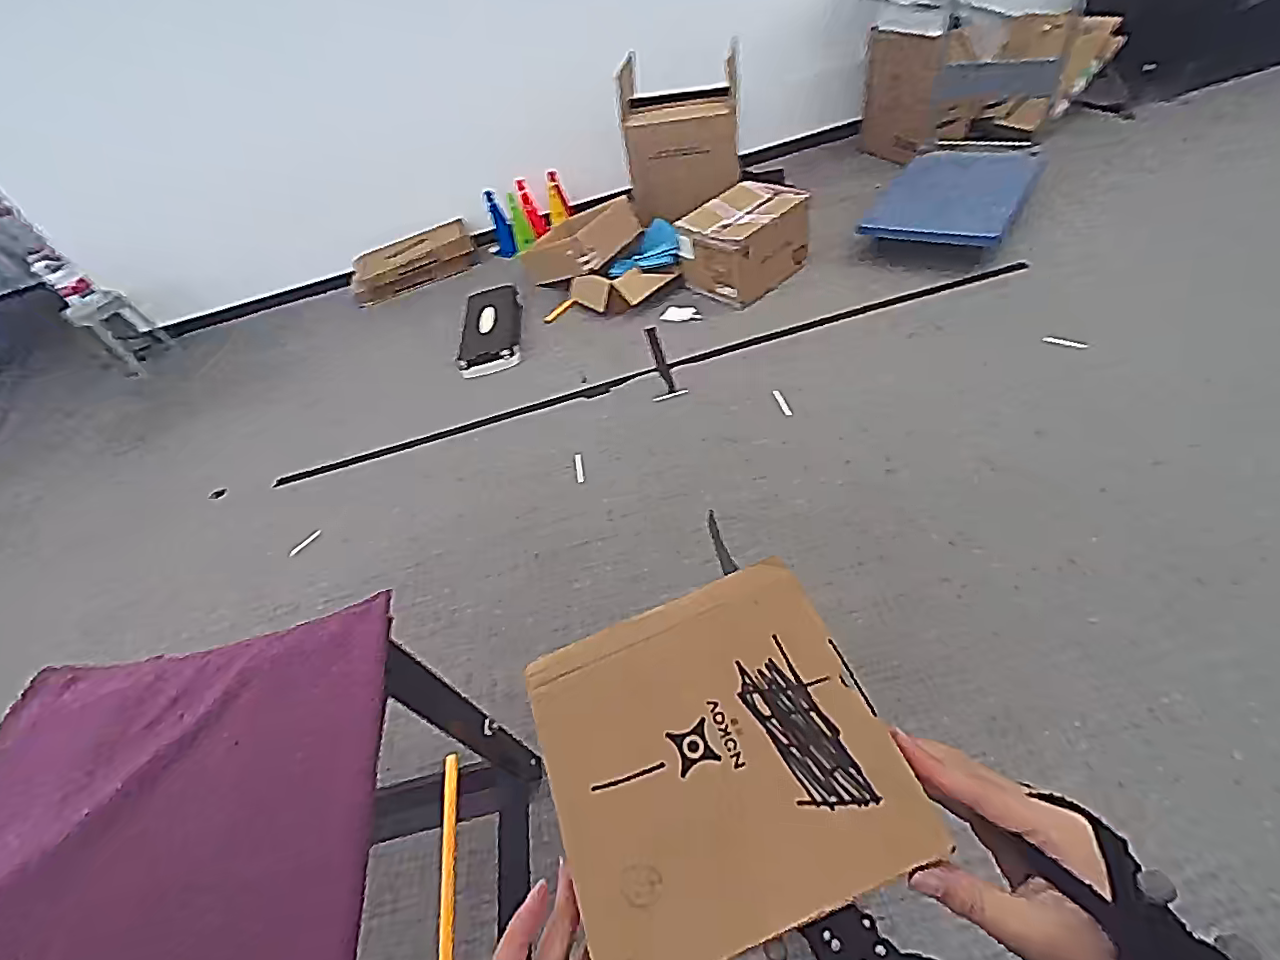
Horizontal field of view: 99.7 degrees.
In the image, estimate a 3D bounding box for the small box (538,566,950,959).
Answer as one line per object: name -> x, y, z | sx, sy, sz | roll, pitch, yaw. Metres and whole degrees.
small box -> 0.055, 0.189, 0.359 | 0.179, 0.176, 0.168 | -22, 53, -4
